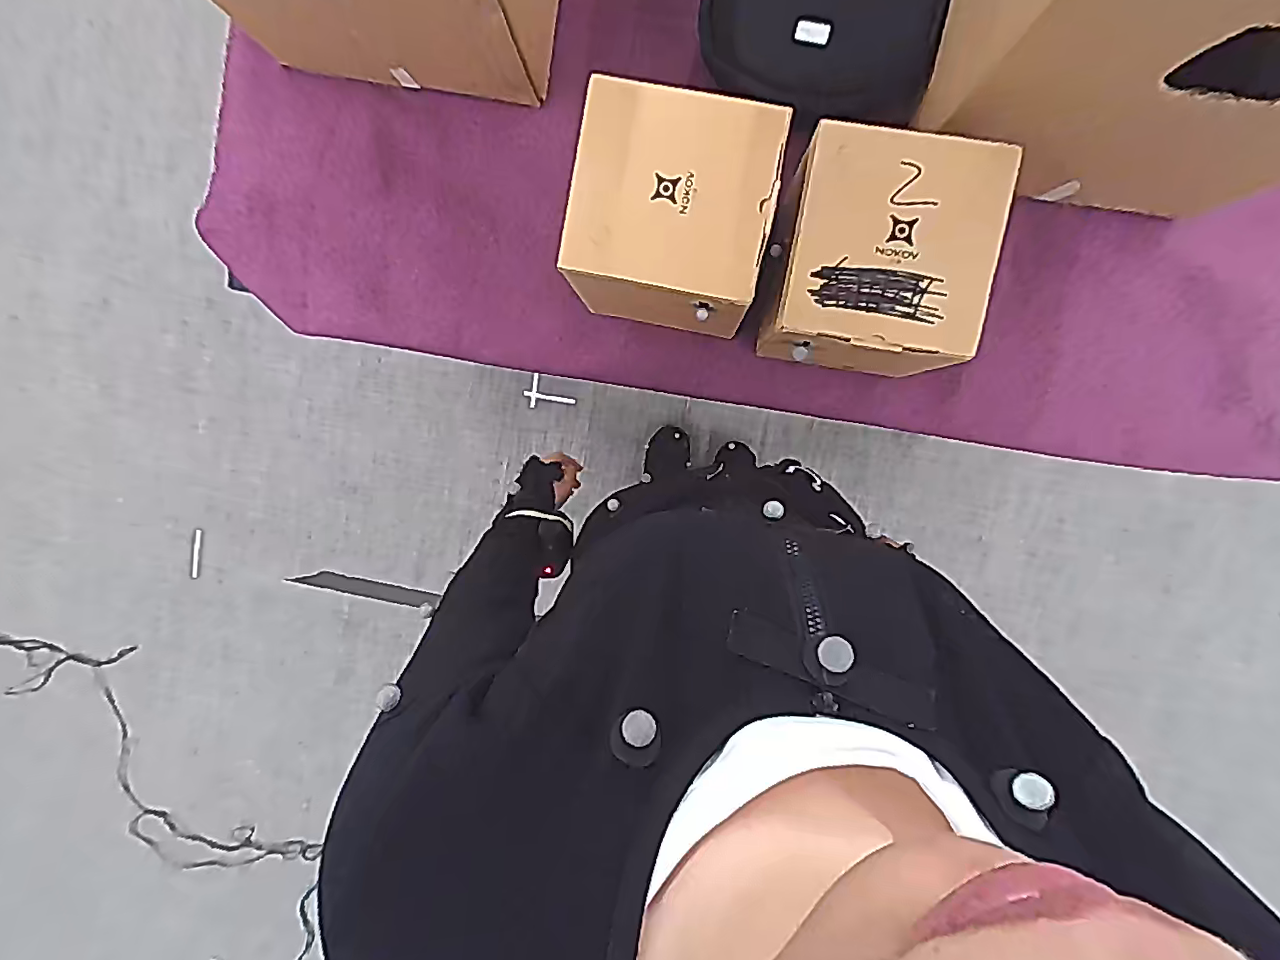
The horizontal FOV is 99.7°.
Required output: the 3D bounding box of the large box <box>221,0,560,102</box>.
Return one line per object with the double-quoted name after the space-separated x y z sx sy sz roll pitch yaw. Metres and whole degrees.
-0.232 -0.626 0.449 0.320 0.320 0.408 9 99 2 "large box"
